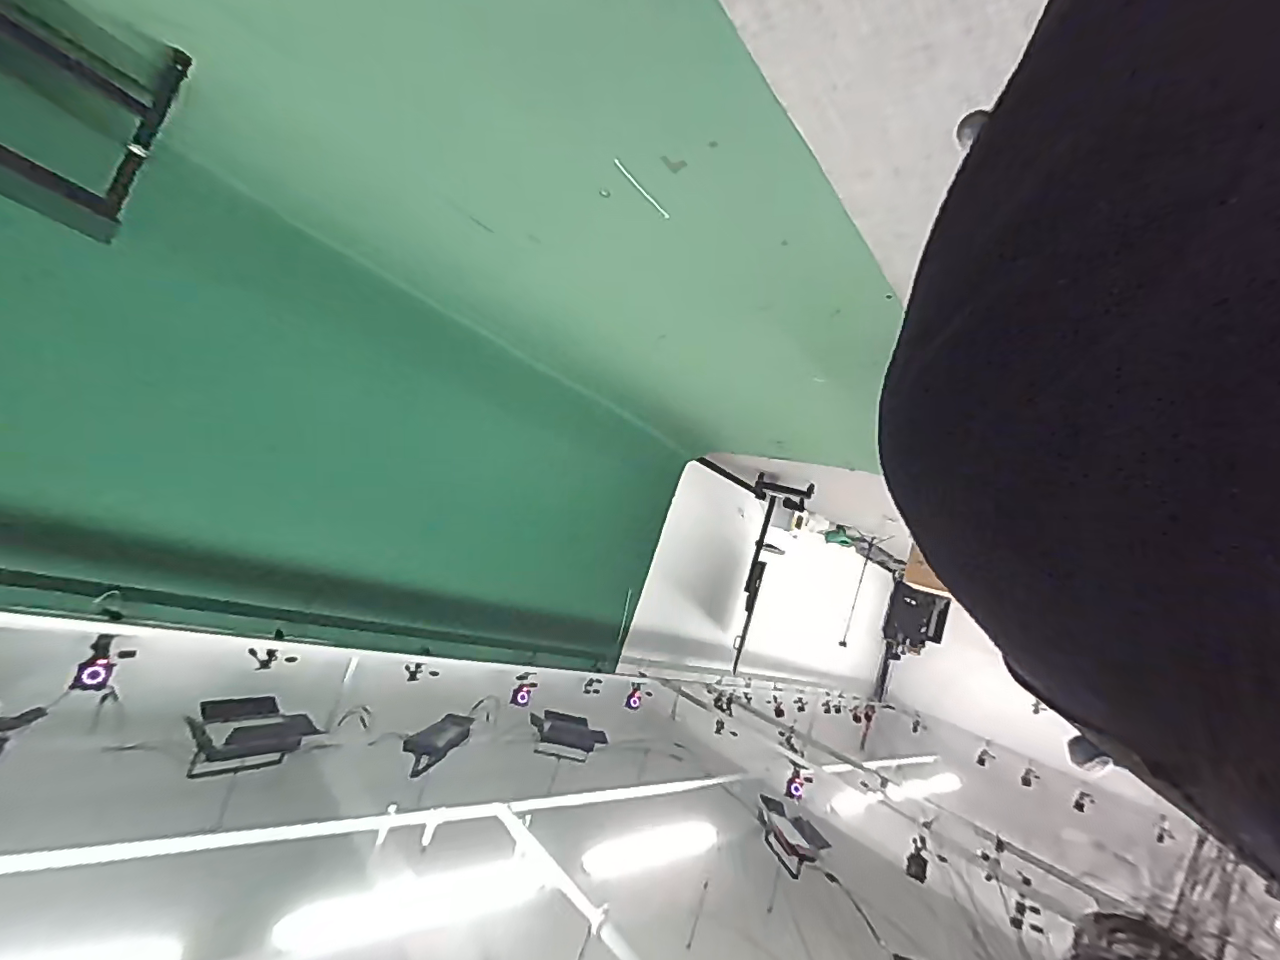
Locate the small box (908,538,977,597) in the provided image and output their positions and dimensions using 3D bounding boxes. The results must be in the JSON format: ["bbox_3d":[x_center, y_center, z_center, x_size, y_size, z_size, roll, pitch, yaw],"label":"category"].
[{"bbox_3d":[1.138,0.325,2.032,0.179,0.176,0.168,11,169,43],"label":"small box"}]
